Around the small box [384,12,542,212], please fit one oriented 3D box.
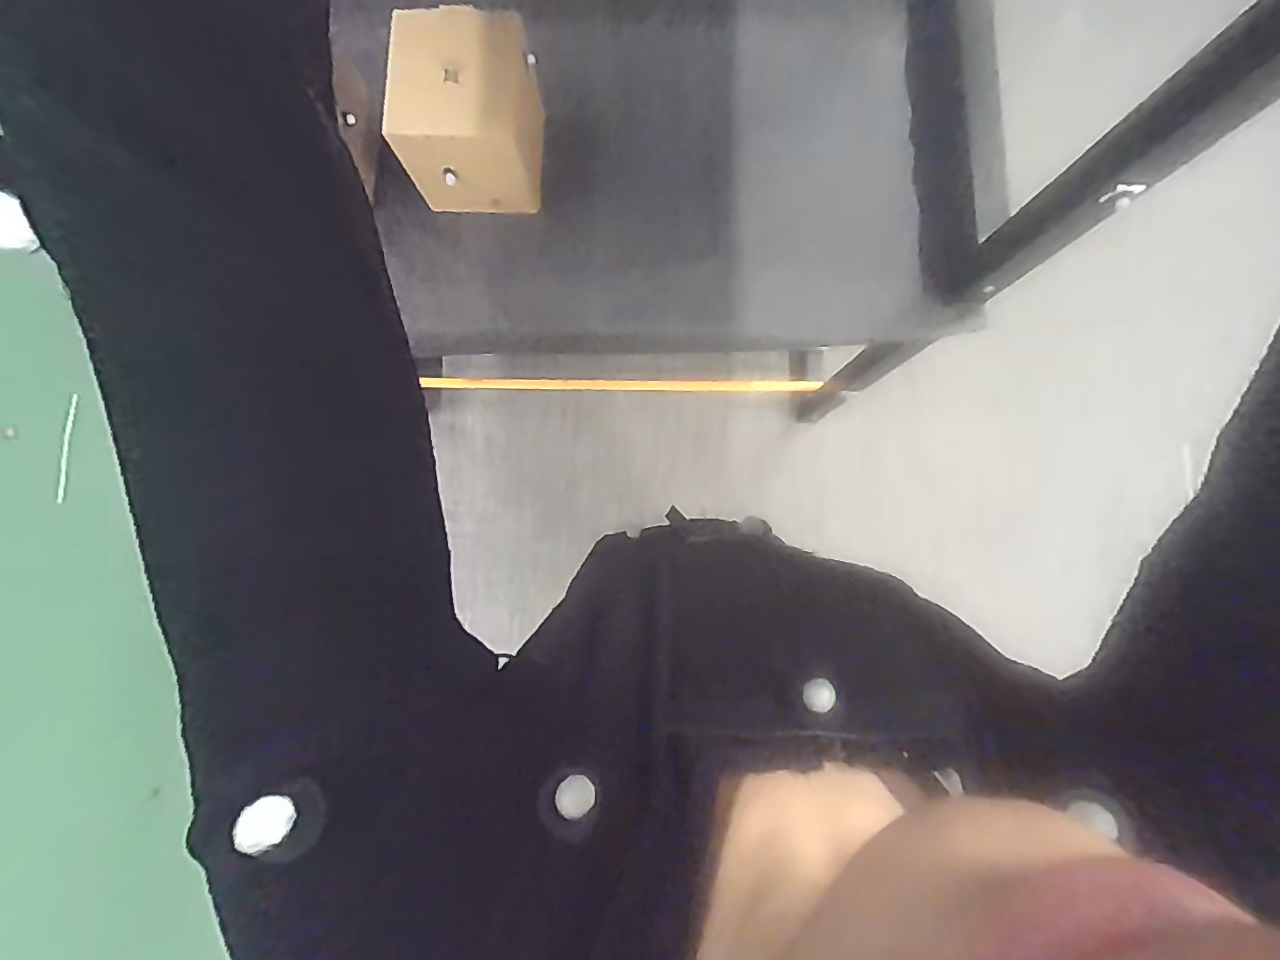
[{"bbox_3d":[-0.237,-0.504,0.763,0.168,0.176,0.179,1,83,1],"label":"small box"}]
